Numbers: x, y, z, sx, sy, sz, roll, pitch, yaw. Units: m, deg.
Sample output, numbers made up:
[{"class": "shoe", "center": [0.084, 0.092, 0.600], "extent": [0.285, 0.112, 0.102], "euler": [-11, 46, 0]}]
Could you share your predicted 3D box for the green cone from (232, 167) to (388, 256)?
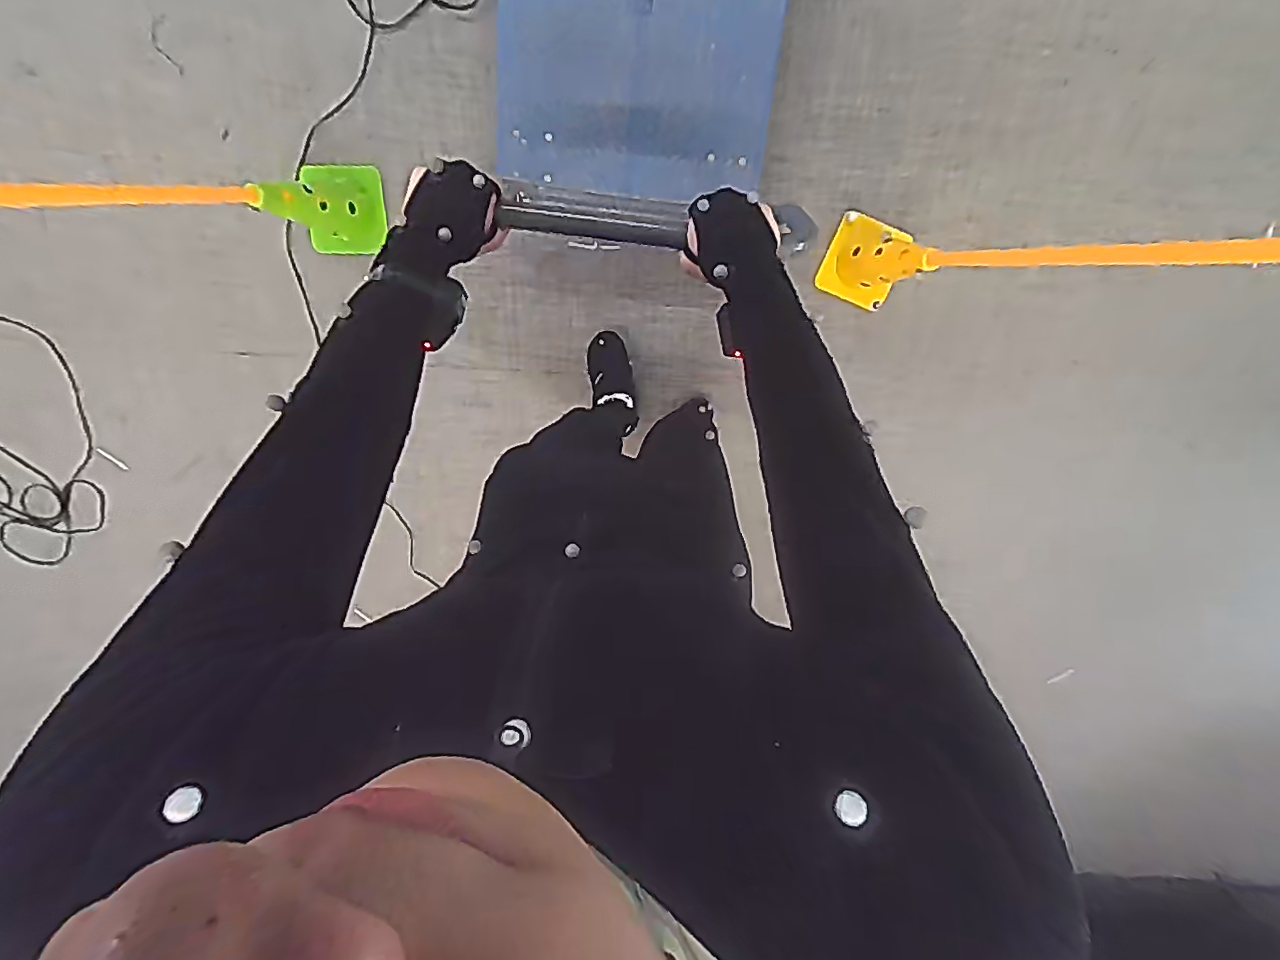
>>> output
[{"class": "green cone", "center": [-0.750, -0.611, 1.199], "extent": [0.202, 0.368, 0.200], "euler": [0, 111, 2]}]
